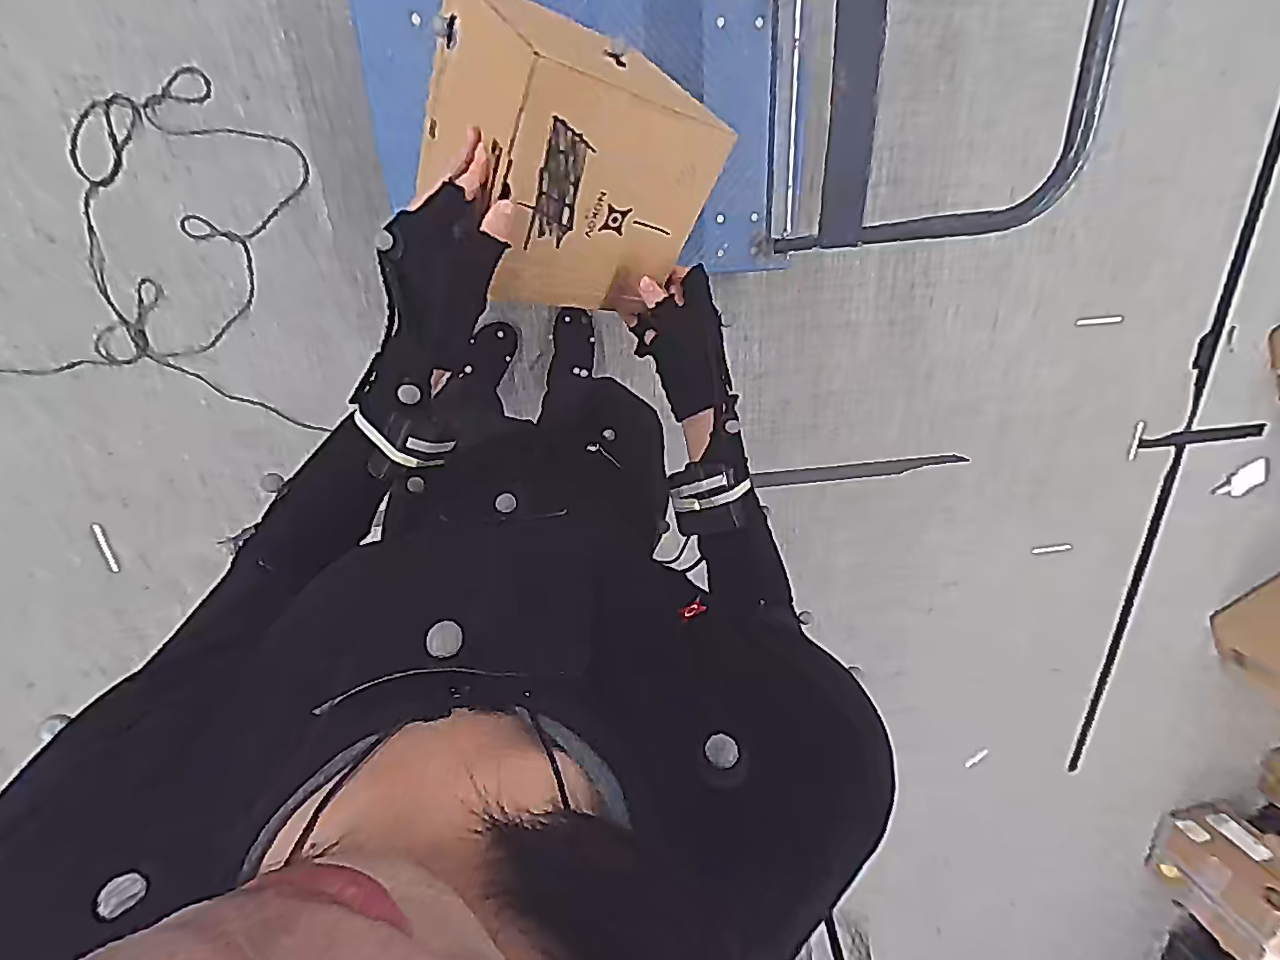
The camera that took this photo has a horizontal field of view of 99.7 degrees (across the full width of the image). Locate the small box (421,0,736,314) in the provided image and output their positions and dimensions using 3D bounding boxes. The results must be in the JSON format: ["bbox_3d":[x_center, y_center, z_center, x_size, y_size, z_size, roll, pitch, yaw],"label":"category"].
[{"bbox_3d":[-0.063,-0.264,0.449,0.179,0.176,0.168,-9,146,-39],"label":"small box"}]
